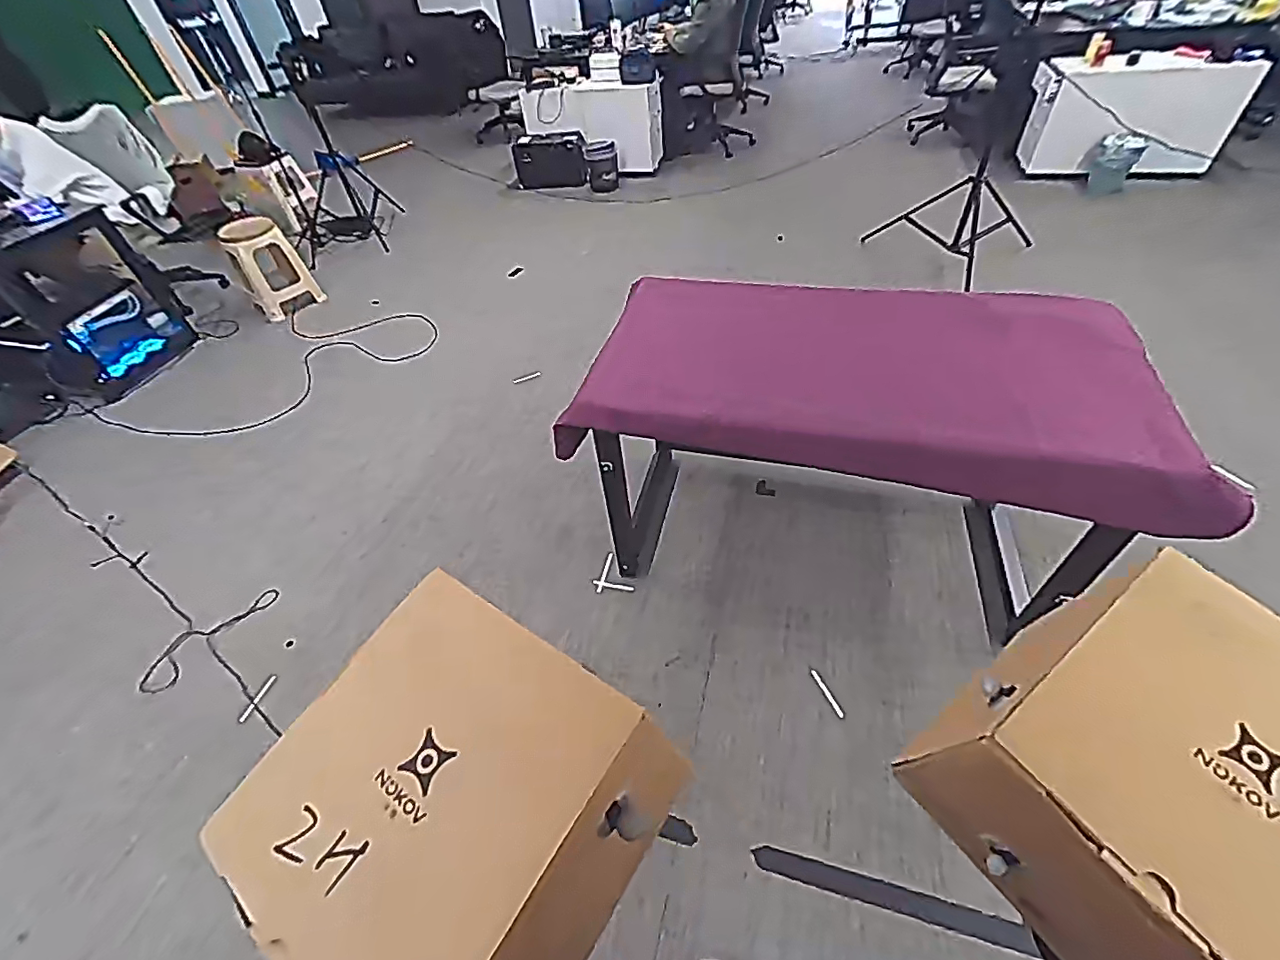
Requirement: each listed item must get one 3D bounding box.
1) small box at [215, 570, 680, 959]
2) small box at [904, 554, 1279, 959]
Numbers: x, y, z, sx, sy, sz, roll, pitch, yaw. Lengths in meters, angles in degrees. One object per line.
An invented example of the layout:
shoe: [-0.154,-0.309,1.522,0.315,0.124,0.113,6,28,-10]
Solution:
small box: [-0.089,0.194,0.334,0.168,0.176,0.179,24,64,29]
small box: [0.302,0.184,0.335,0.179,0.176,0.168,-35,61,-16]
